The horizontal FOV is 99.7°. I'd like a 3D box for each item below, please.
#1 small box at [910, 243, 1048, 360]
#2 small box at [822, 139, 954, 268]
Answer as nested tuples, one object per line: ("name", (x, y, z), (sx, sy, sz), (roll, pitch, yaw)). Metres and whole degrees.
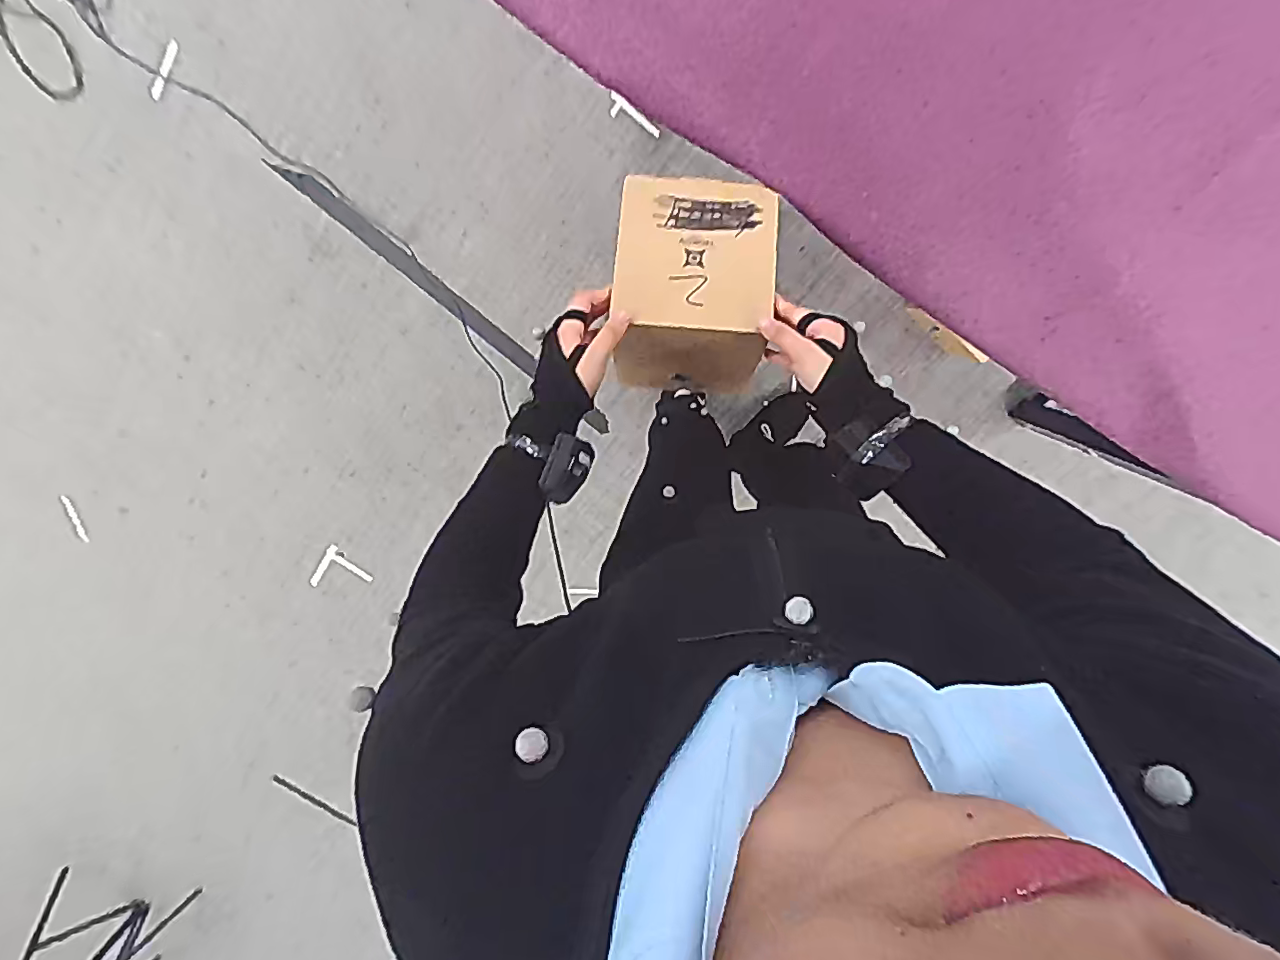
("small box", (0.734, -0.393, 1.201), (0.168, 0.176, 0.179), (40, 107, -9))
("small box", (0.512, -0.573, 1.153), (0.168, 0.176, 0.179), (38, 108, -9))
